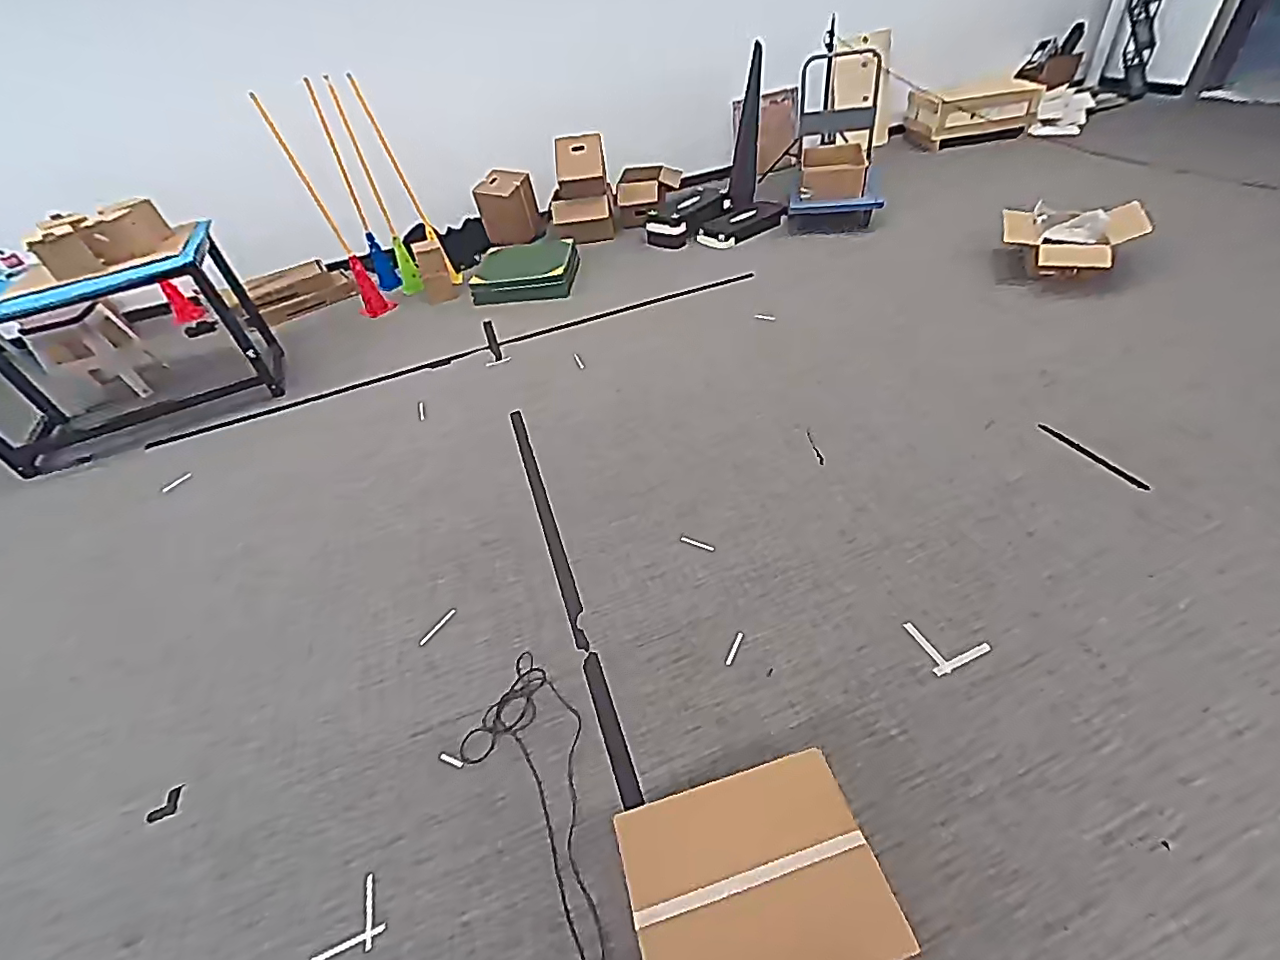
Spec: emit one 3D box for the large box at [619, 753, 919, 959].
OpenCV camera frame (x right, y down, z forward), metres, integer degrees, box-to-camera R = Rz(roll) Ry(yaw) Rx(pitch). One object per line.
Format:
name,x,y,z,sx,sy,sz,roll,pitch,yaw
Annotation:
large box,0.209,0.770,0.987,0.408,0.320,0.320,-15,42,-7
